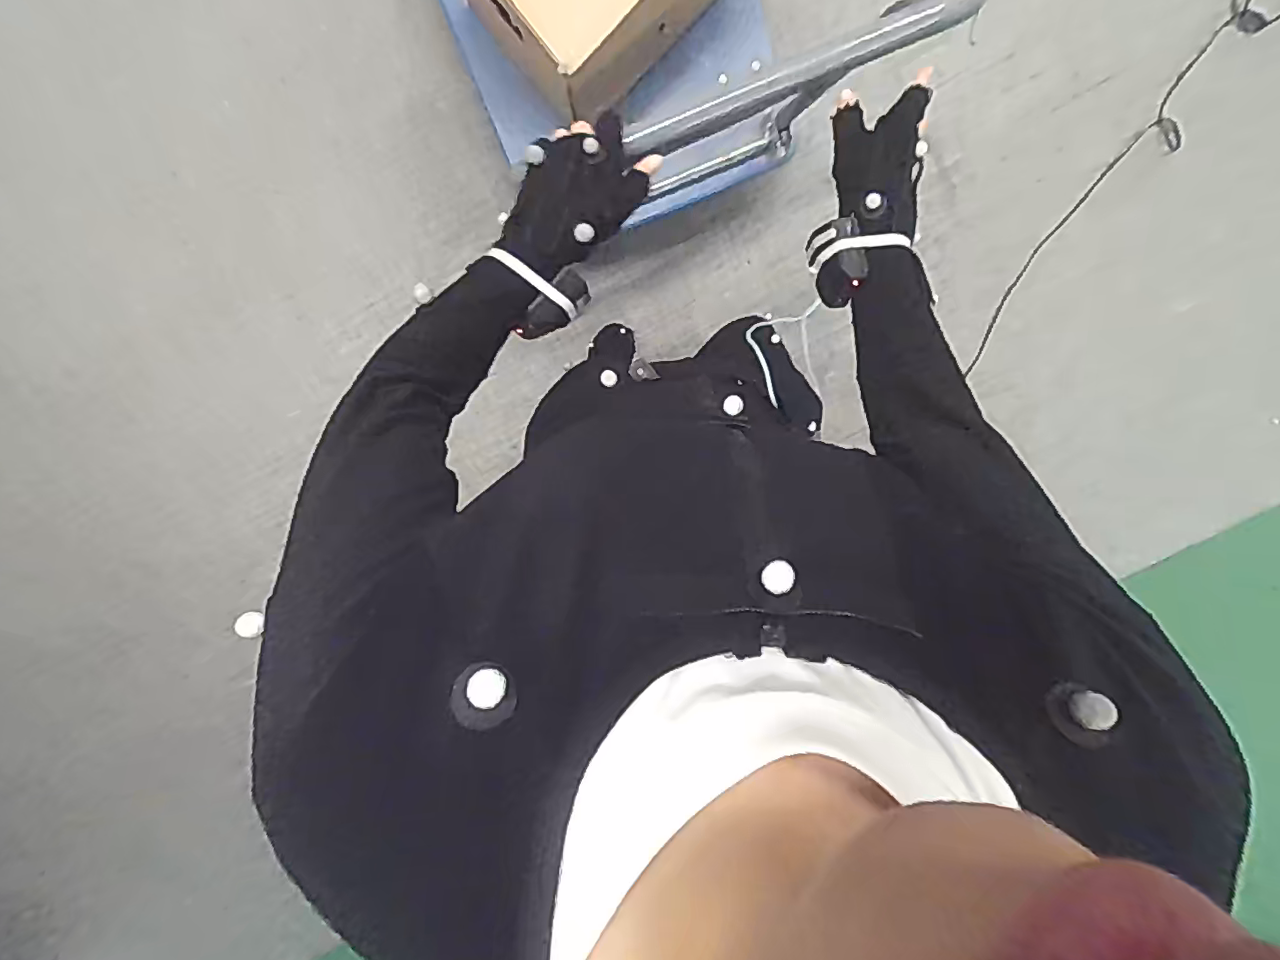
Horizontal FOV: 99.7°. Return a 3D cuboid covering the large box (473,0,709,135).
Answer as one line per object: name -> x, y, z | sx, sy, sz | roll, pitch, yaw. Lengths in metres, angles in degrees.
large box -> -0.063, -0.892, 0.897 | 0.408, 0.320, 0.320 | -43, 103, 12
